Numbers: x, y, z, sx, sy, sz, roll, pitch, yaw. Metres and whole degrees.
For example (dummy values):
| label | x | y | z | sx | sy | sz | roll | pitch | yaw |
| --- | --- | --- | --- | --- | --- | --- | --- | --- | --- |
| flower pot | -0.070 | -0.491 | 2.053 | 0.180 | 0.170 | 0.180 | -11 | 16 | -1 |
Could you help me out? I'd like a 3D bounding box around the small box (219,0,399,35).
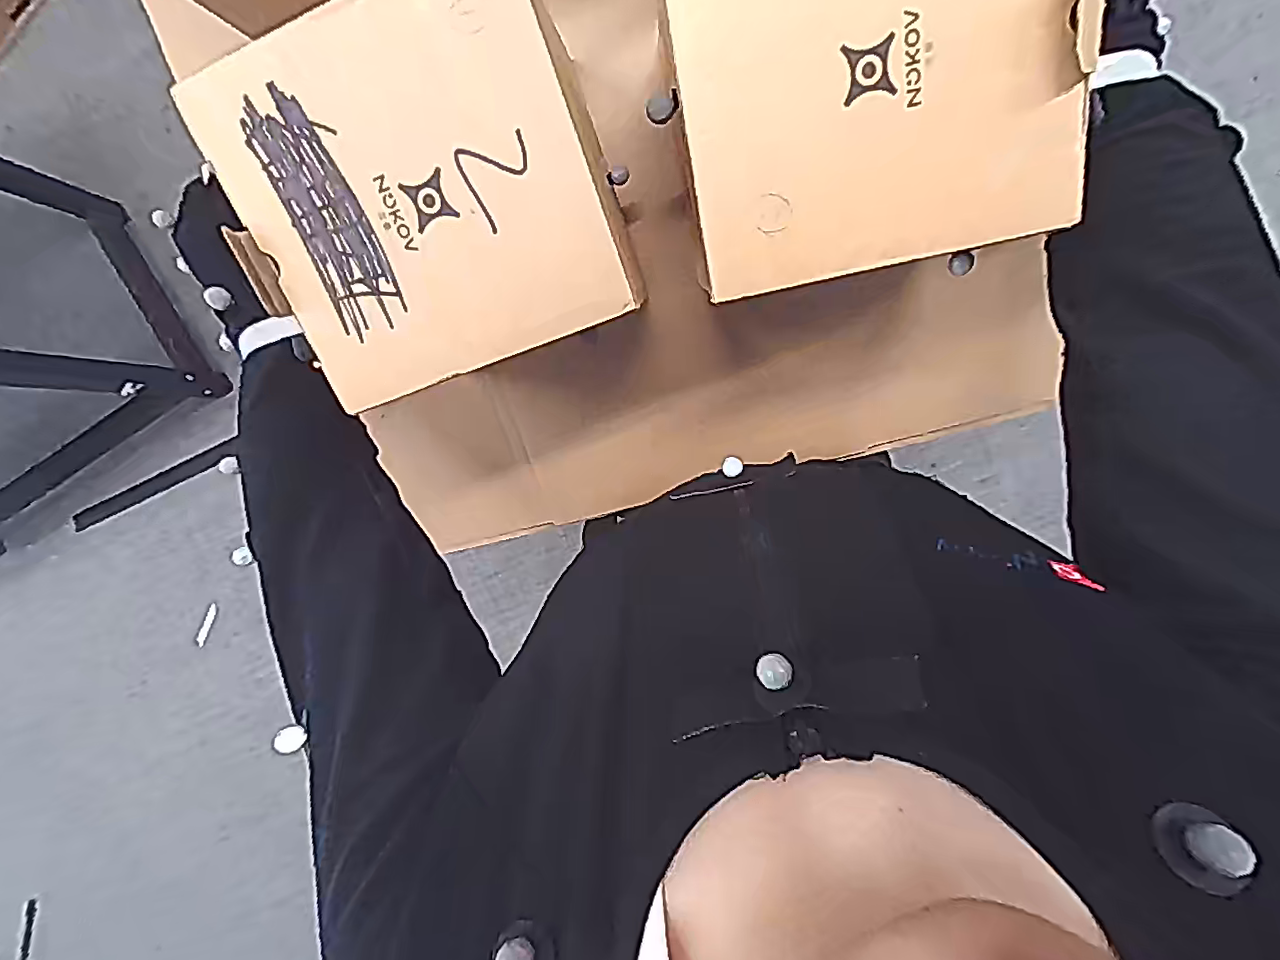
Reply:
| label | x | y | z | sx | sy | sz | roll | pitch | yaw |
| --- | --- | --- | --- | --- | --- | --- | --- | --- | --- |
| small box | -0.204 | -0.378 | 0.277 | 0.168 | 0.176 | 0.179 | -15 | 104 | 9 |
